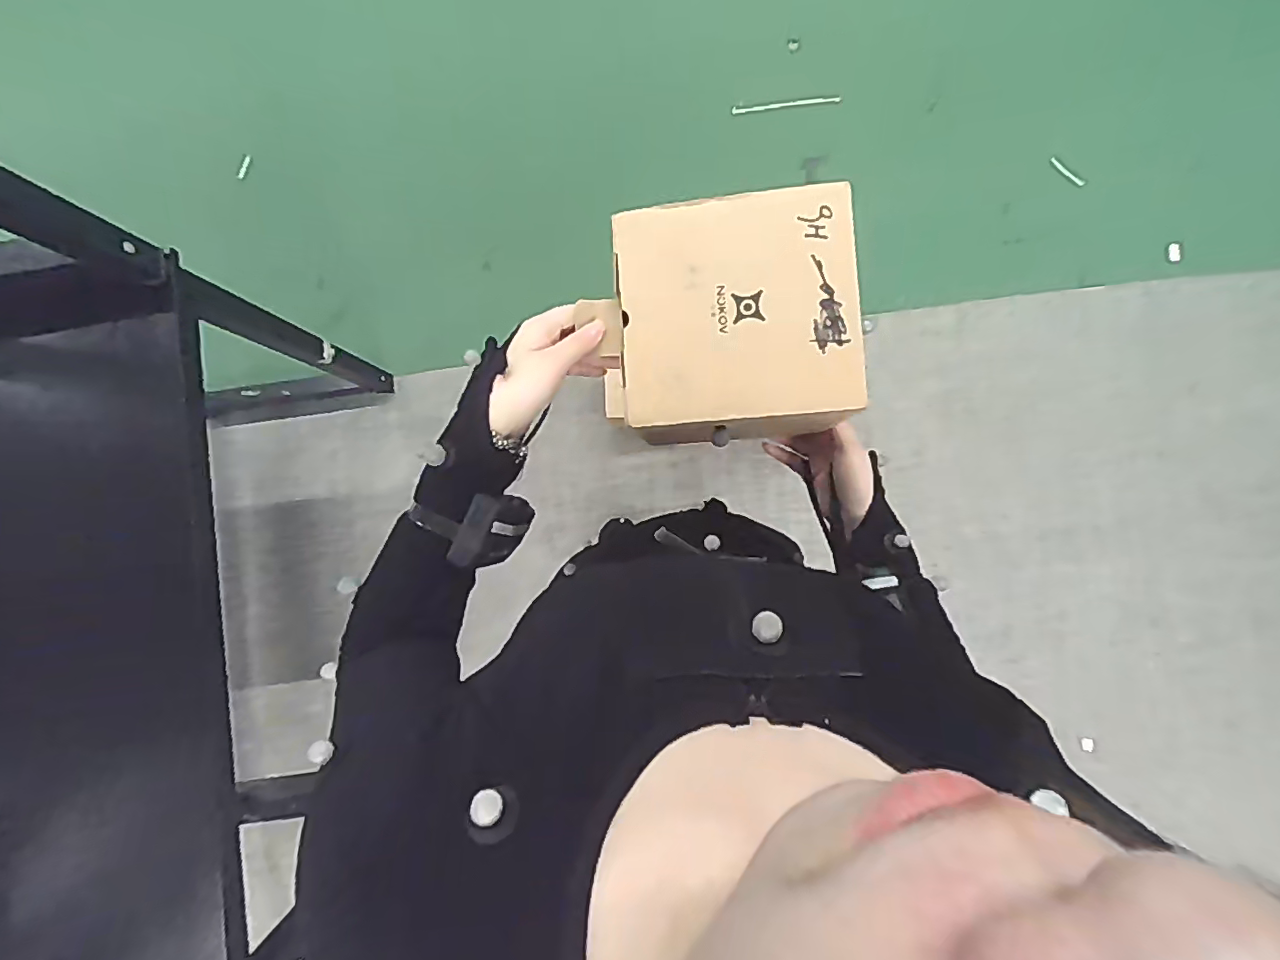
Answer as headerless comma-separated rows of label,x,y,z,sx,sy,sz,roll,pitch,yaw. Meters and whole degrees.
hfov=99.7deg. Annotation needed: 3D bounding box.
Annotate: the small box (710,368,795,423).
small box,0.288,-0.257,1.434,0.179,0.176,0.168,-14,87,1
